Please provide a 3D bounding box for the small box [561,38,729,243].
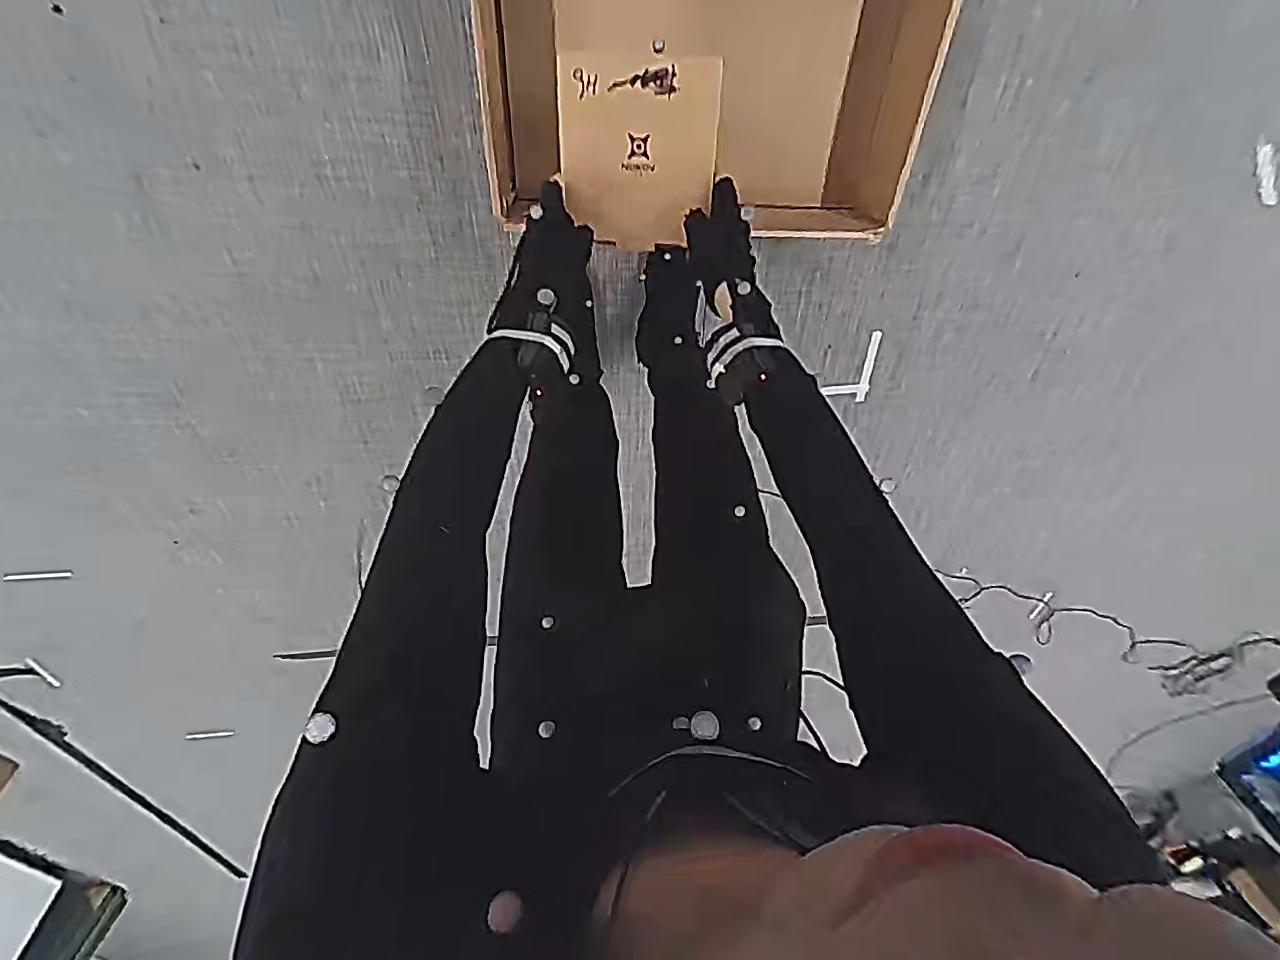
[{"bbox_3d":[0.002,-0.388,0.629,0.168,0.176,0.179,2,123,-1],"label":"small box"}]
